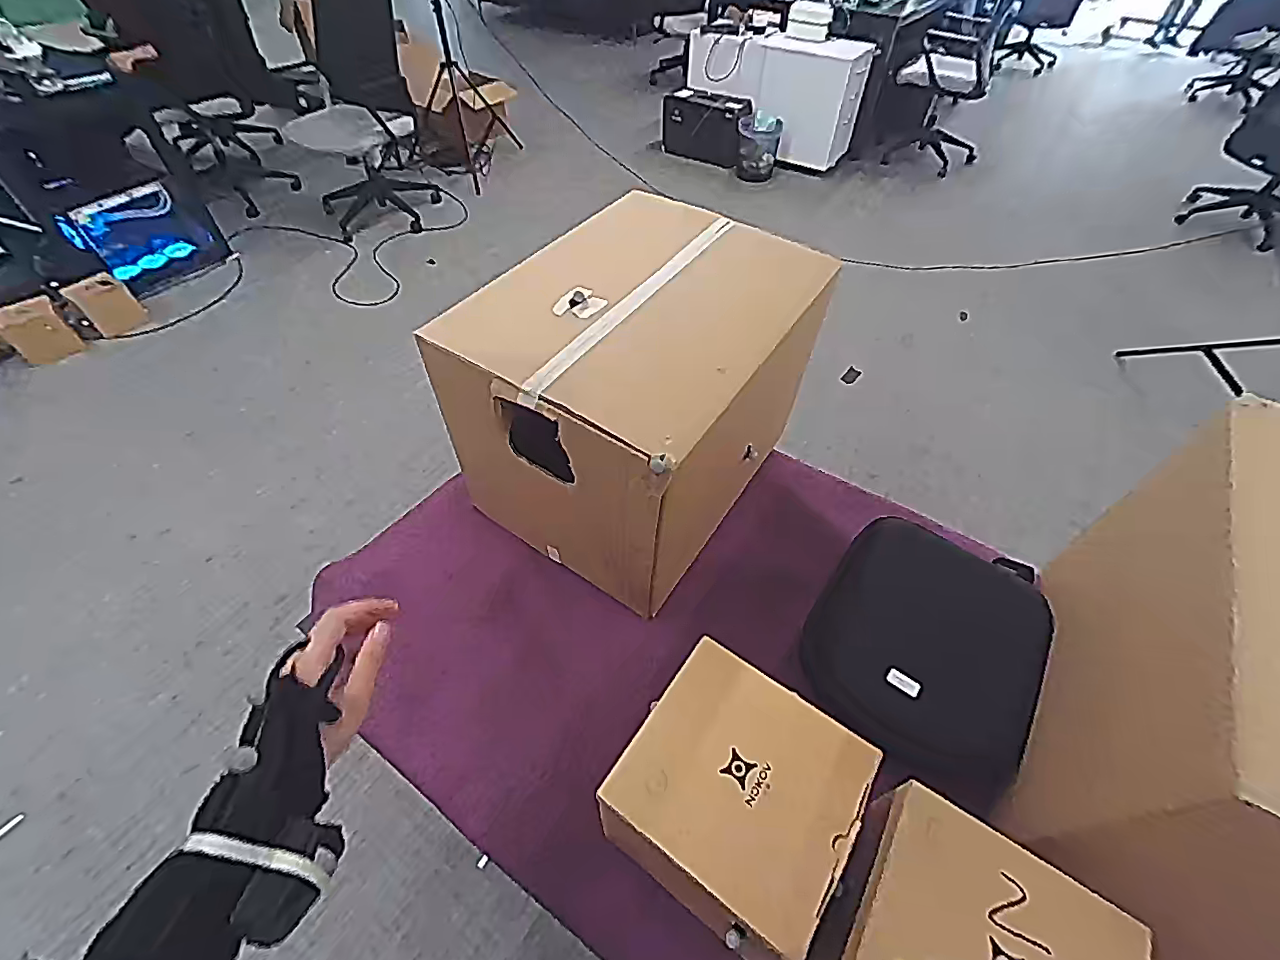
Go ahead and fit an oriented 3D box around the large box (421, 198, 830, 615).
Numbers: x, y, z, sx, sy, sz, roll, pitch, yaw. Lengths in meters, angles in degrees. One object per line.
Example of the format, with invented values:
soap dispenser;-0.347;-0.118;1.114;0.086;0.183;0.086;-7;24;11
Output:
large box;0.001;-0.107;0.728;0.320;0.320;0.408;27;57;19
